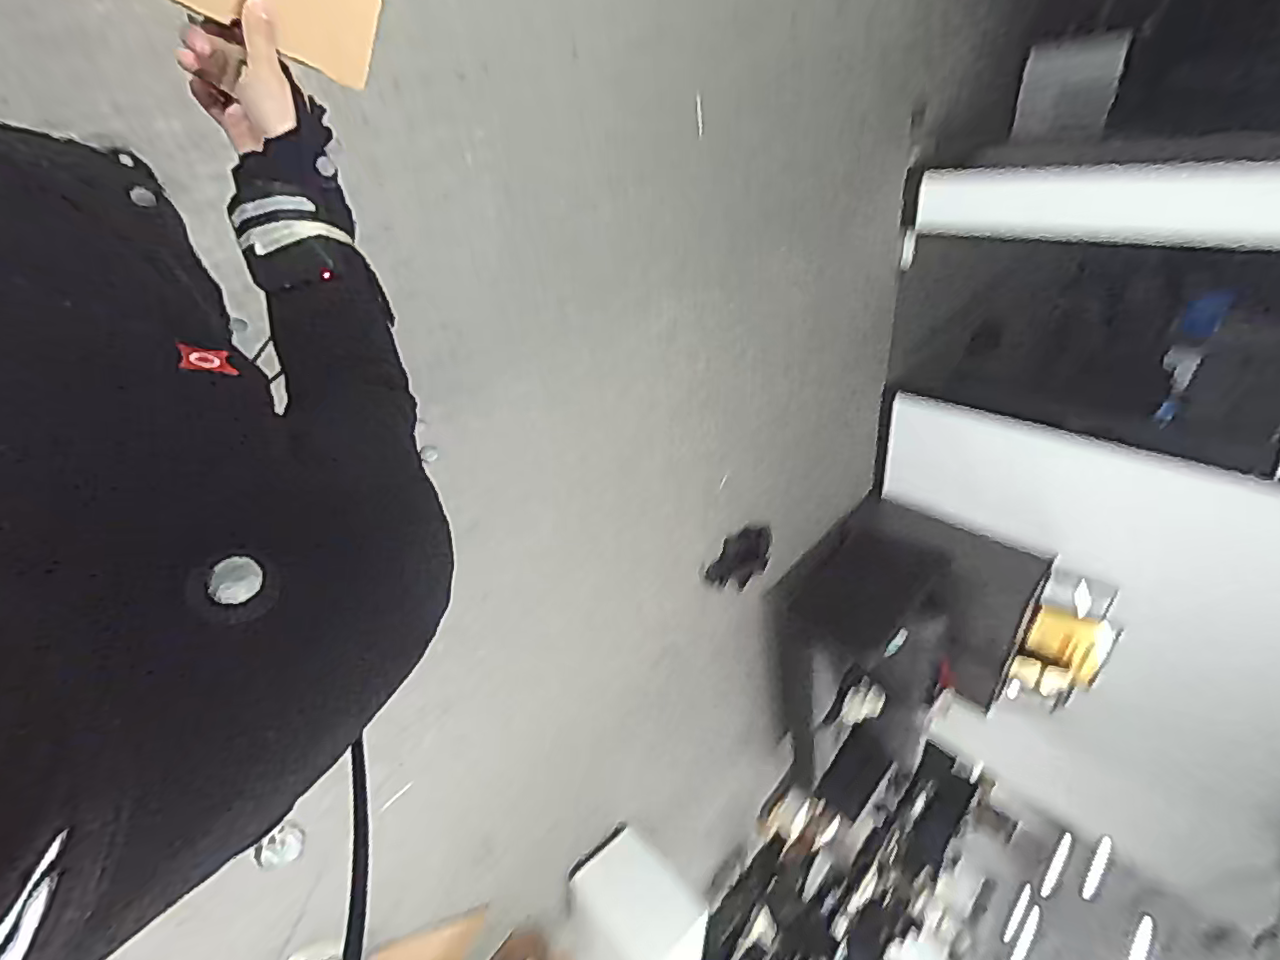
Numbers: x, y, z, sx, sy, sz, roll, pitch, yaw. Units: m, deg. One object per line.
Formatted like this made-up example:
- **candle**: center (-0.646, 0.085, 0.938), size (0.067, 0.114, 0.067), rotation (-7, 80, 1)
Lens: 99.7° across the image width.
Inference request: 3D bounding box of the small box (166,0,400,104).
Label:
- **small box**: center (-0.286, -0.428, 0.399), size (0.168, 0.176, 0.179), rotation (0, 126, -48)
